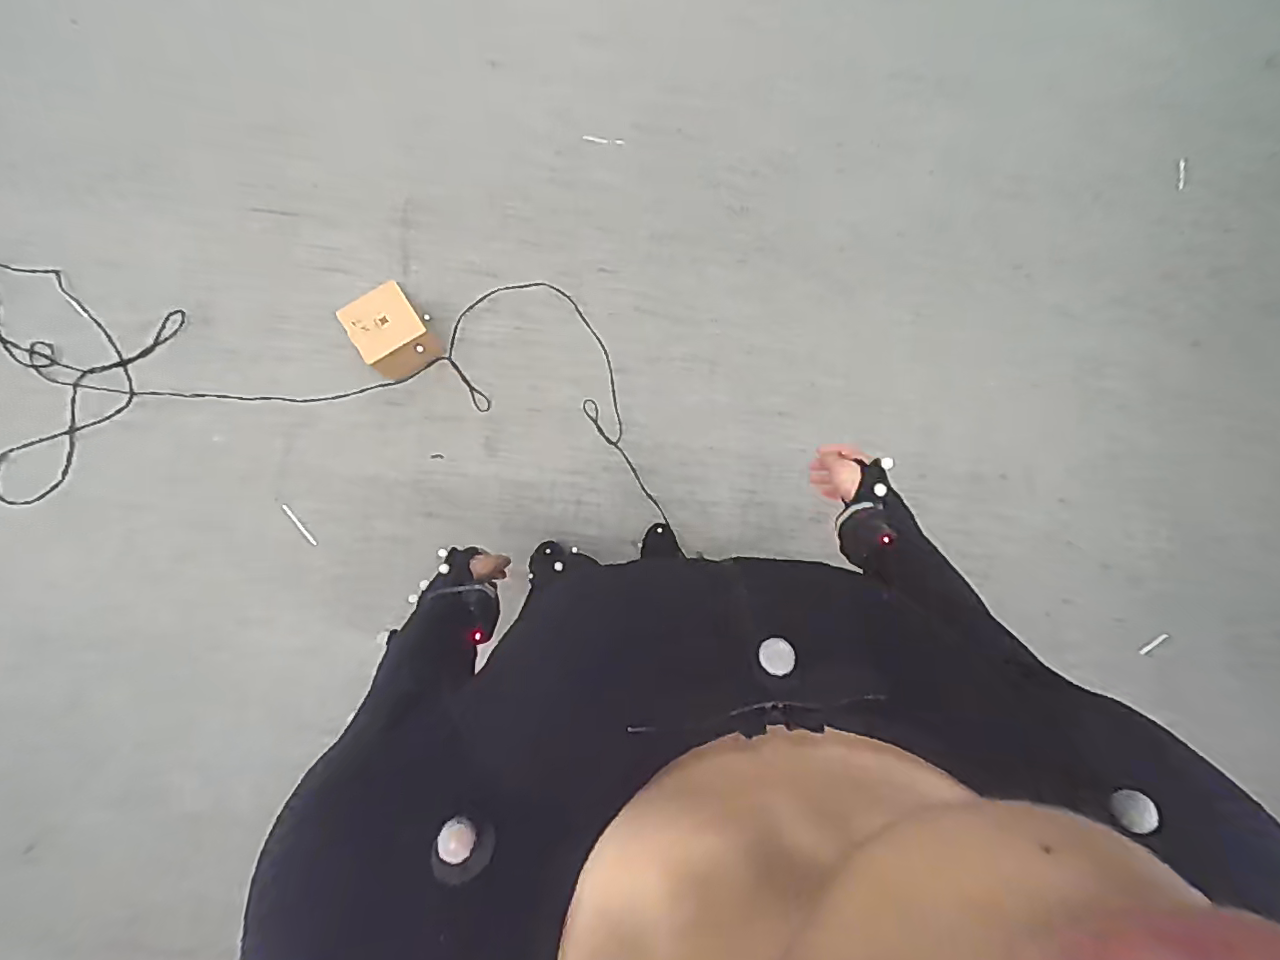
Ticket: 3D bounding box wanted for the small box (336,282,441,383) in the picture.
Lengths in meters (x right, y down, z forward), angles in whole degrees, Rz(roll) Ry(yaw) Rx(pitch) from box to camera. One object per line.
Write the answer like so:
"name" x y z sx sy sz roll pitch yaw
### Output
"small box" -0.655 -0.385 1.440 0.179 0.176 0.168 -32 86 -4
